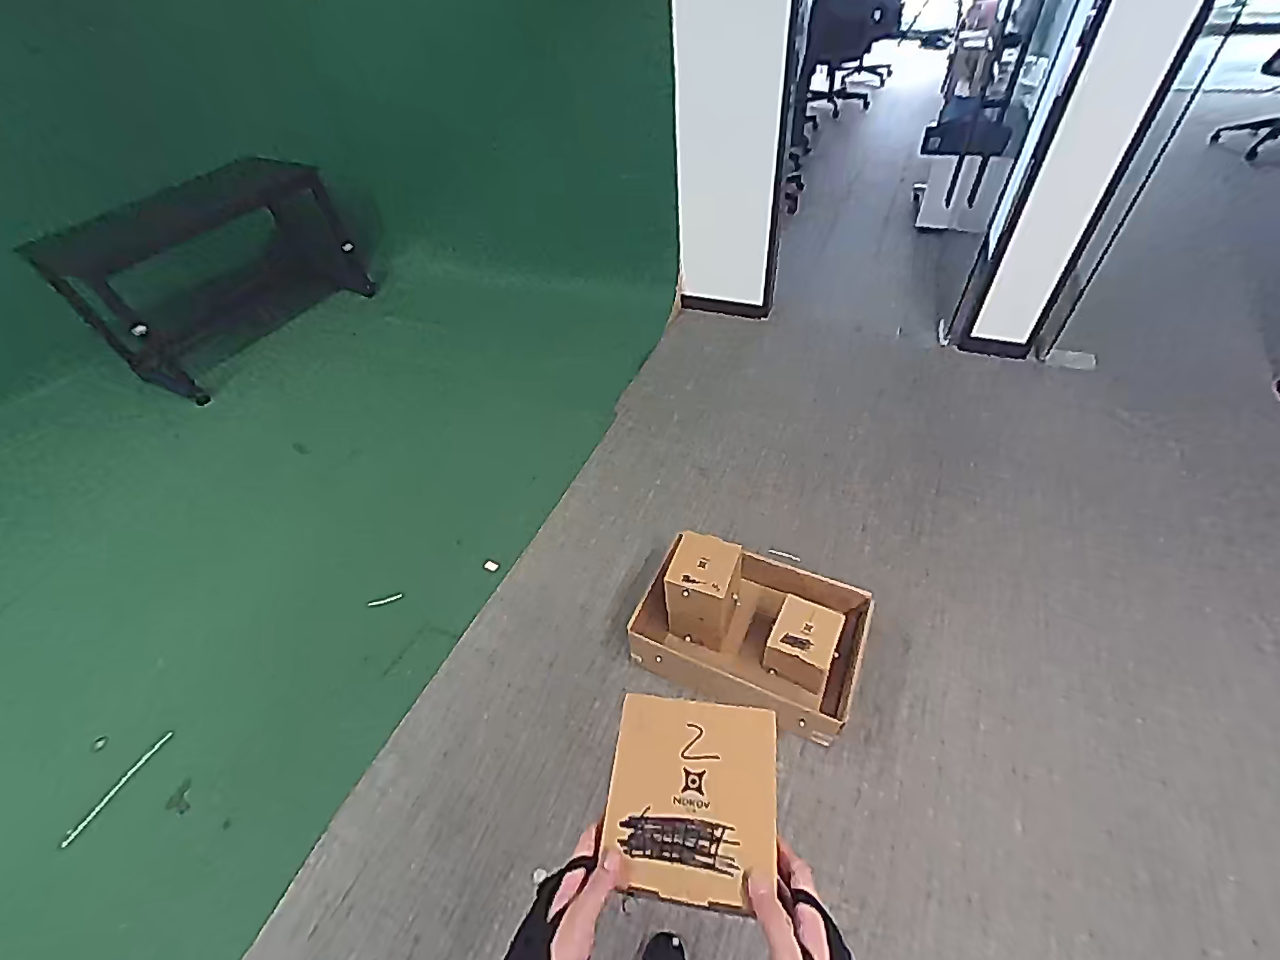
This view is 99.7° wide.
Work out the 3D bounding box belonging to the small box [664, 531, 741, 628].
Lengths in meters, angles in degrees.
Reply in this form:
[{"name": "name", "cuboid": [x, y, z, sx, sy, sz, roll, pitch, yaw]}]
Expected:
[{"name": "small box", "cuboid": [0.173, 0.275, 1.499, 0.168, 0.176, 0.179, 15, 51, 19]}]
